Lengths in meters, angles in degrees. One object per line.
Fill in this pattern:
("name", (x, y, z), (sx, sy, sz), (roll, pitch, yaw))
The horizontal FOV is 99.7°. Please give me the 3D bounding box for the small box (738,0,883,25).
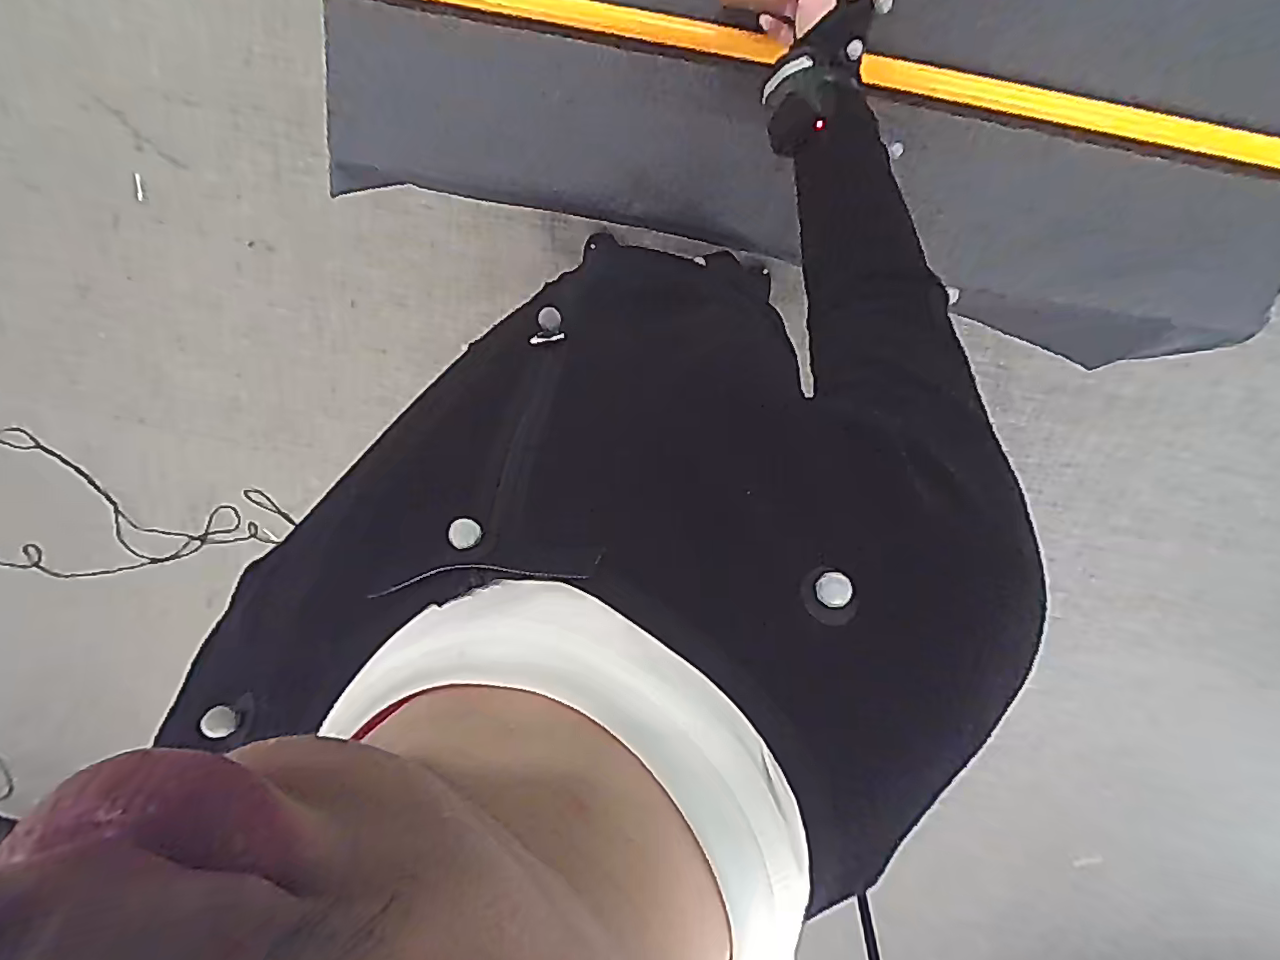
("small box", (0.180, -0.575, 0.513), (0.168, 0.176, 0.179), (10, 111, 6))
